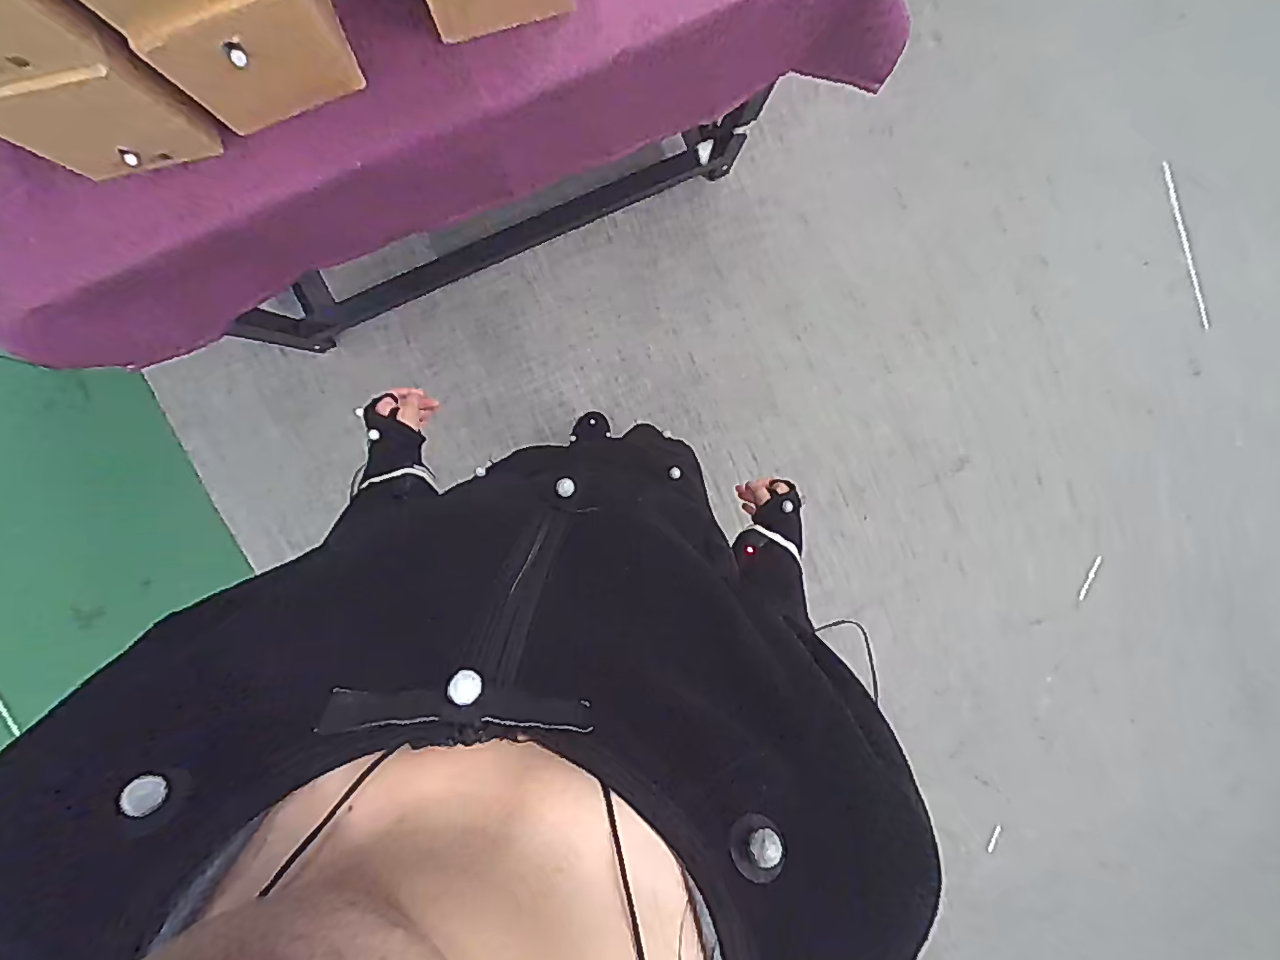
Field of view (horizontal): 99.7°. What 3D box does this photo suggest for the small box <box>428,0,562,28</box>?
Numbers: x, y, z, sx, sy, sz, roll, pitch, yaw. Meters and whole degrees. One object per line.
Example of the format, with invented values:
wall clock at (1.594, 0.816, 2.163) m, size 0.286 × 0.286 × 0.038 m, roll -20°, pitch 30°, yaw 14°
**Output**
small box at (-0.182, -0.646, 0.590) m, size 0.179 × 0.176 × 0.168 m, roll -15°, pitch 99°, yaw -2°
